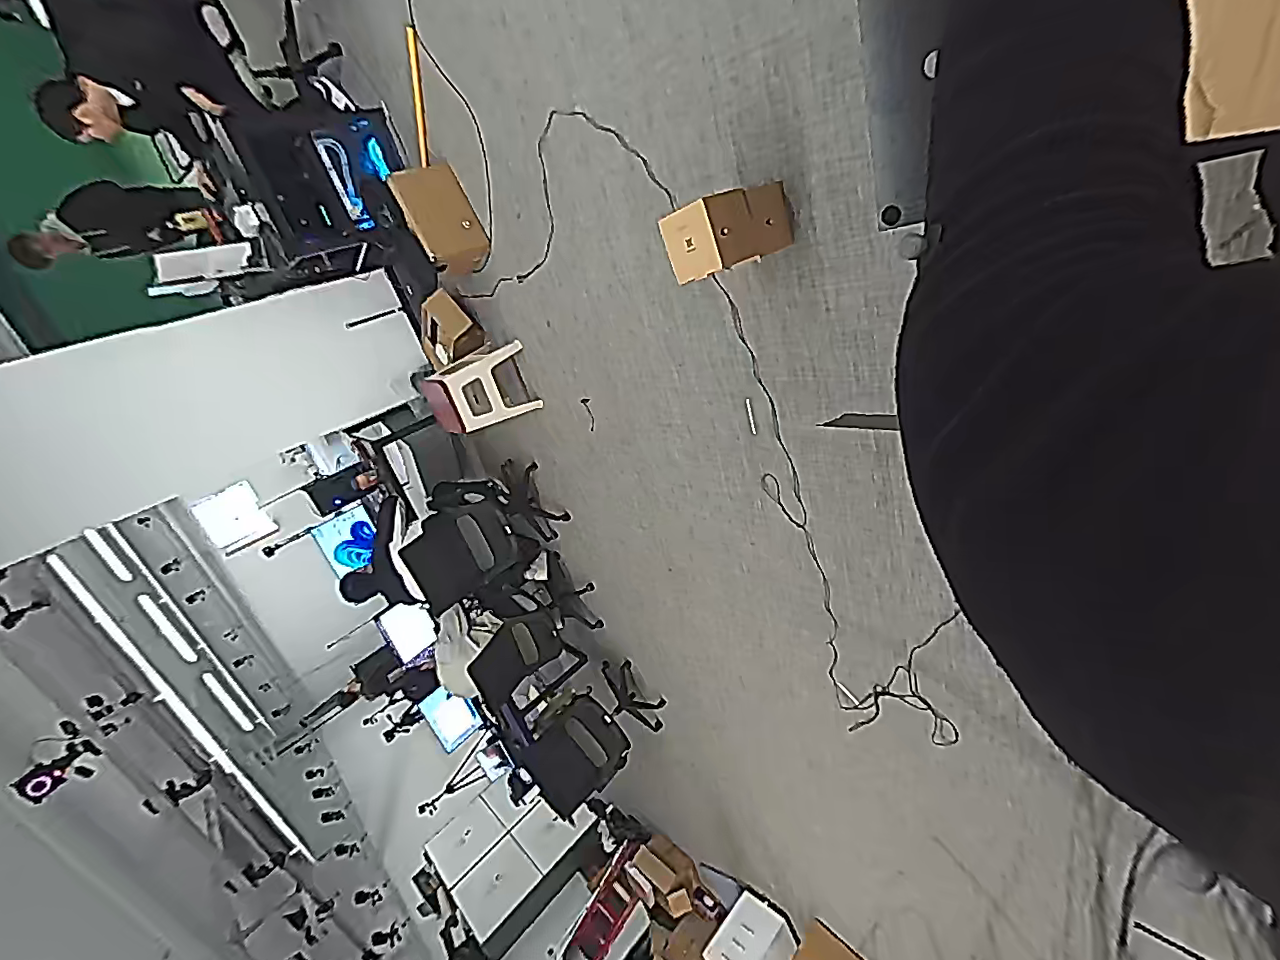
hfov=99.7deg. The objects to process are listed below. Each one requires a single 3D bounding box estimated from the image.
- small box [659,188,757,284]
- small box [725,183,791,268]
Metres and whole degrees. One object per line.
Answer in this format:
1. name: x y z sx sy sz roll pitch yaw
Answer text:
1. small box: 0.185 -0.647 1.434 0.168 0.176 0.179 1 117 51
2. small box: 0.300 -0.717 1.524 0.168 0.176 0.179 6 123 50
